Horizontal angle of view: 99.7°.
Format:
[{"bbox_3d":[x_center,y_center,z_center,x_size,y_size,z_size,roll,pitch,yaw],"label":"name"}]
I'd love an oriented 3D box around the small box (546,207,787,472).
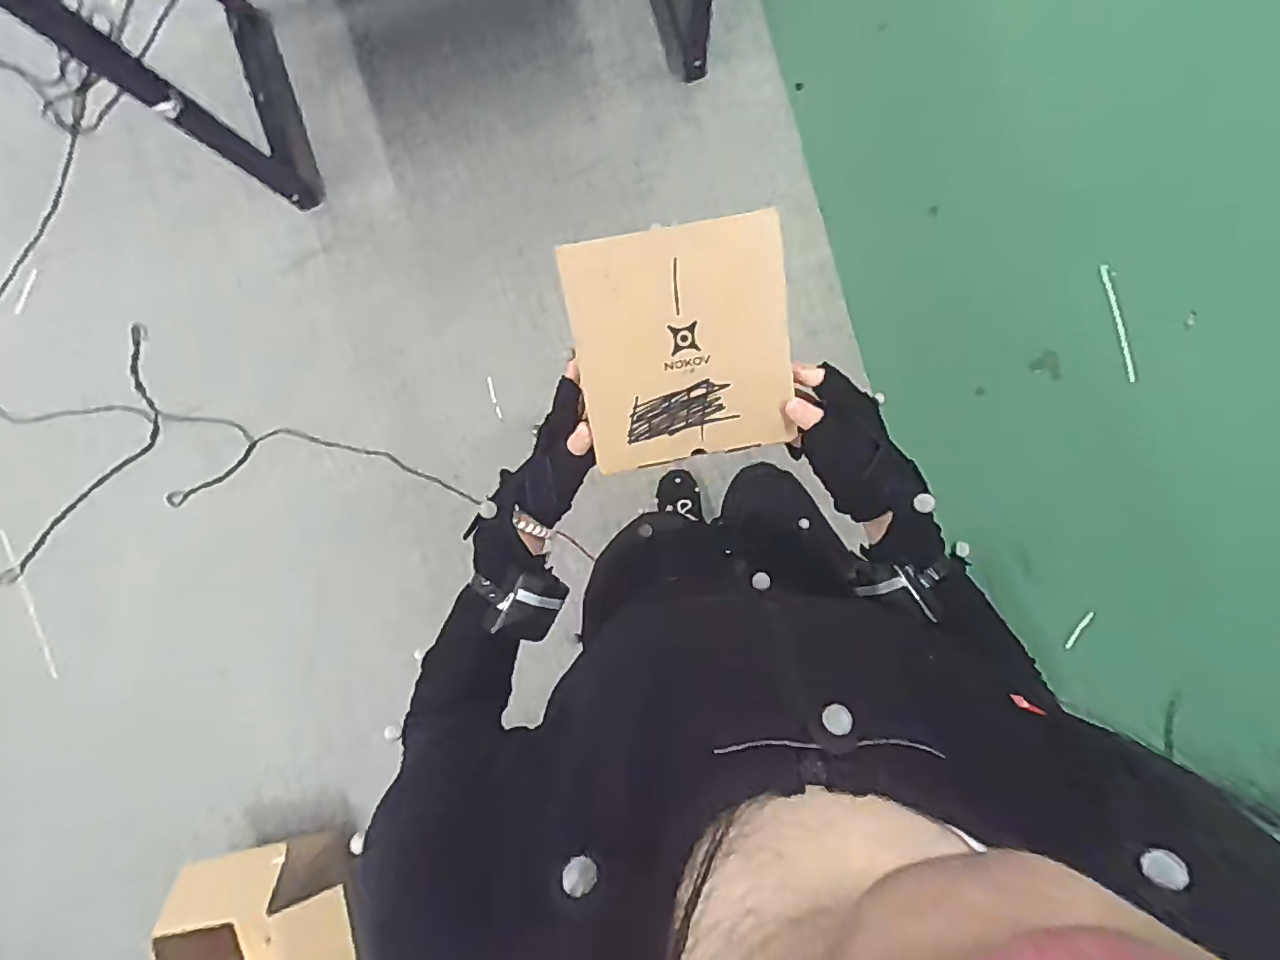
[{"bbox_3d":[0.021,-0.124,0.485,0.168,0.176,0.179,-11,107,-1],"label":"small box"}]
